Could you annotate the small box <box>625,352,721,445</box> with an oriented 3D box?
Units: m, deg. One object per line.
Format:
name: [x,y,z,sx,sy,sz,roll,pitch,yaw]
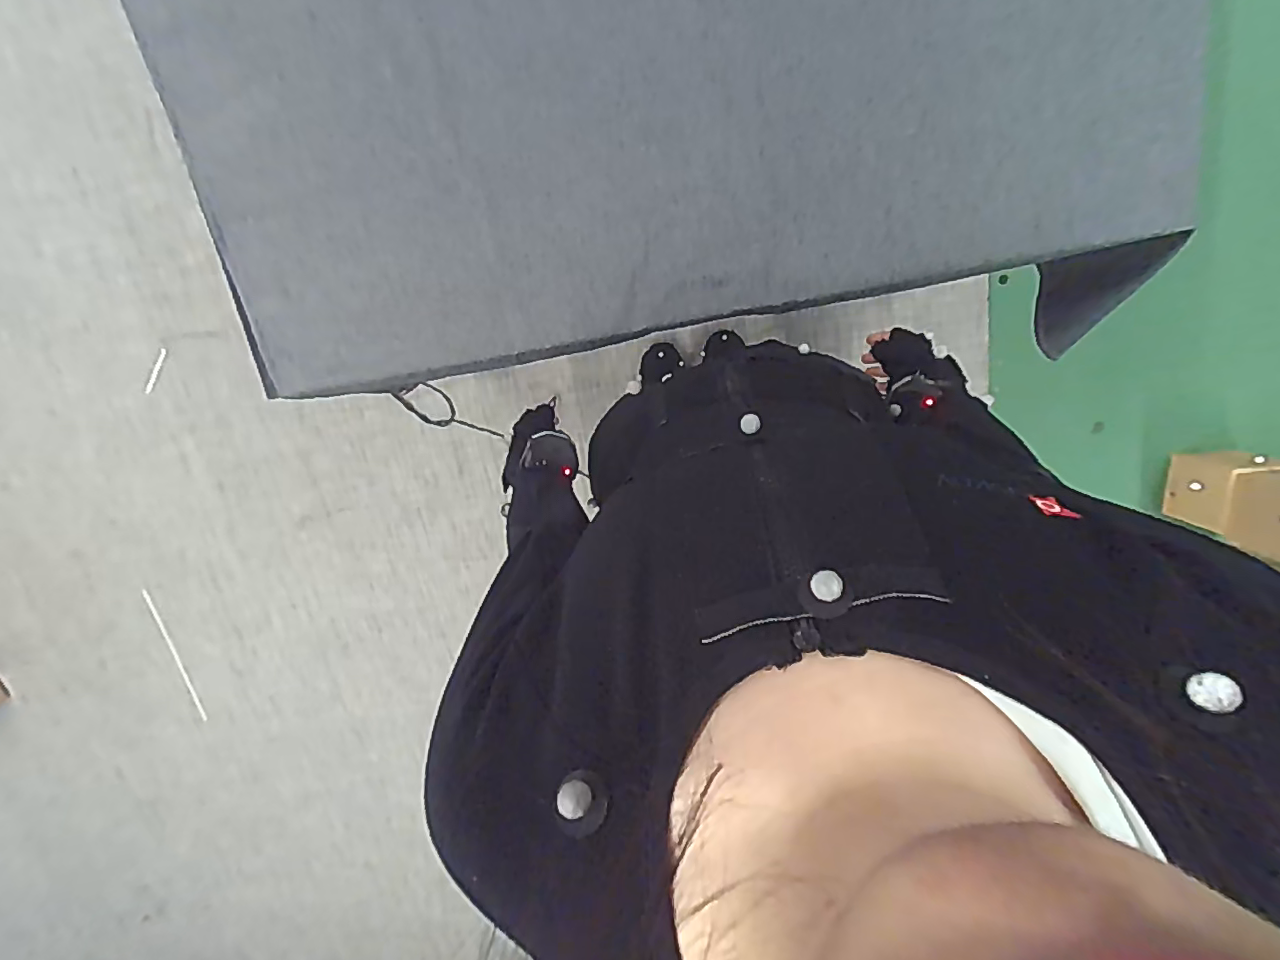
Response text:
small box: [0.079,-0.211,1.382,0.179,0.176,0.168,32,116,11]

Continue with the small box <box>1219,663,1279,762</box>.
small box: [1.601,0.568,1.325,0.179,0.176,0.168,-7,104,4]

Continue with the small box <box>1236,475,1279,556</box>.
small box: [1.502,0.084,1.204,0.168,0.176,0.179,-5,104,4]

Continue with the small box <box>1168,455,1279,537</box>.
small box: [1.498,0.036,1.362,0.179,0.176,0.168,-4,104,3]
